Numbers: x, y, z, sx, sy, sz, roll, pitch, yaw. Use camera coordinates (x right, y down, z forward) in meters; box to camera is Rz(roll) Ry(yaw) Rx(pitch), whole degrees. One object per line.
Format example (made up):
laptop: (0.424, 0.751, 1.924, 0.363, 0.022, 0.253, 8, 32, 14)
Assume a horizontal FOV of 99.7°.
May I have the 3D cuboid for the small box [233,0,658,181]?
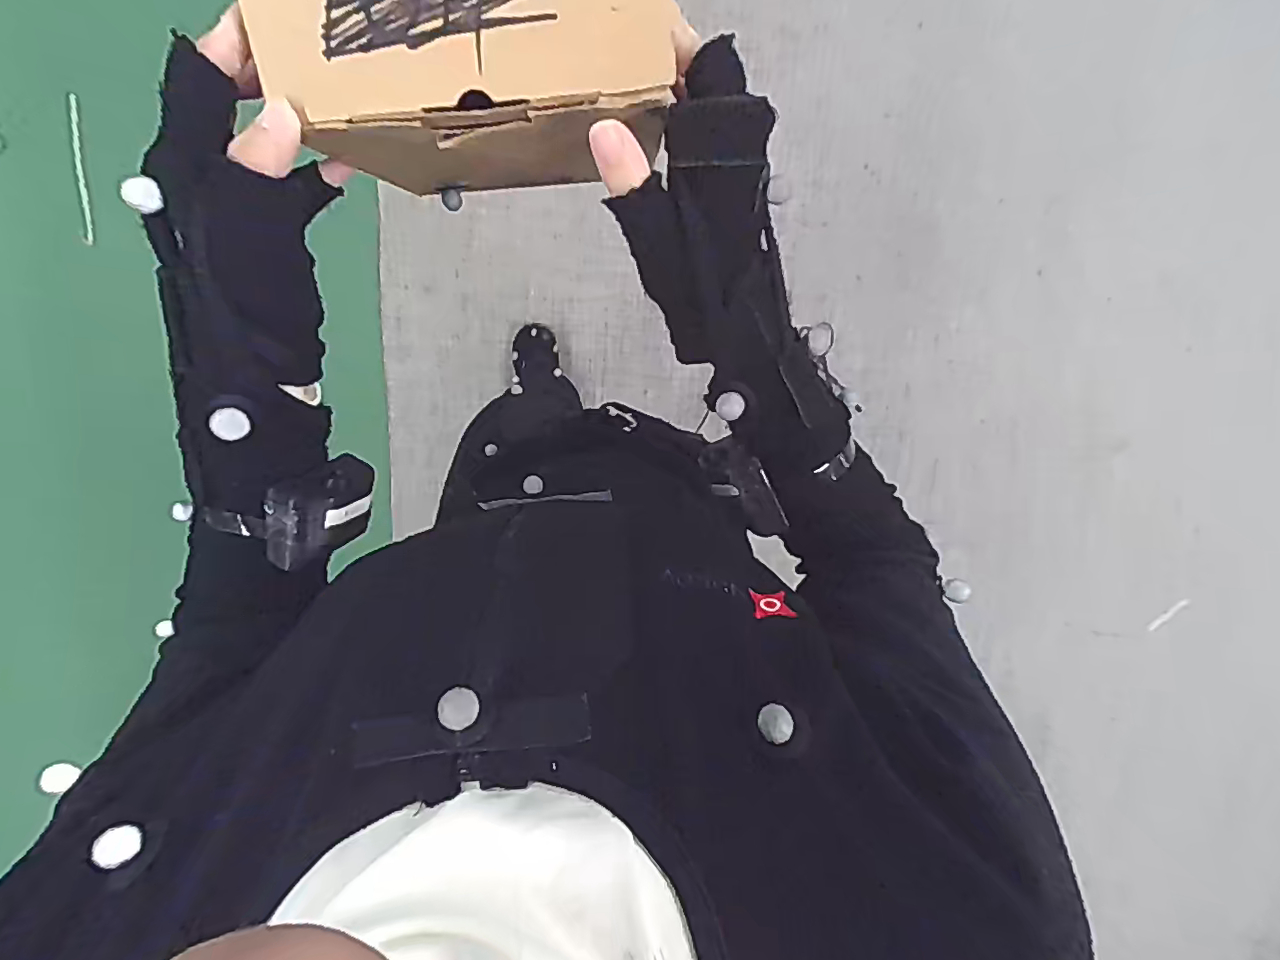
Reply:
small box: (-0.078, -0.260, 0.267, 0.168, 0.176, 0.179, -5, 109, 1)
